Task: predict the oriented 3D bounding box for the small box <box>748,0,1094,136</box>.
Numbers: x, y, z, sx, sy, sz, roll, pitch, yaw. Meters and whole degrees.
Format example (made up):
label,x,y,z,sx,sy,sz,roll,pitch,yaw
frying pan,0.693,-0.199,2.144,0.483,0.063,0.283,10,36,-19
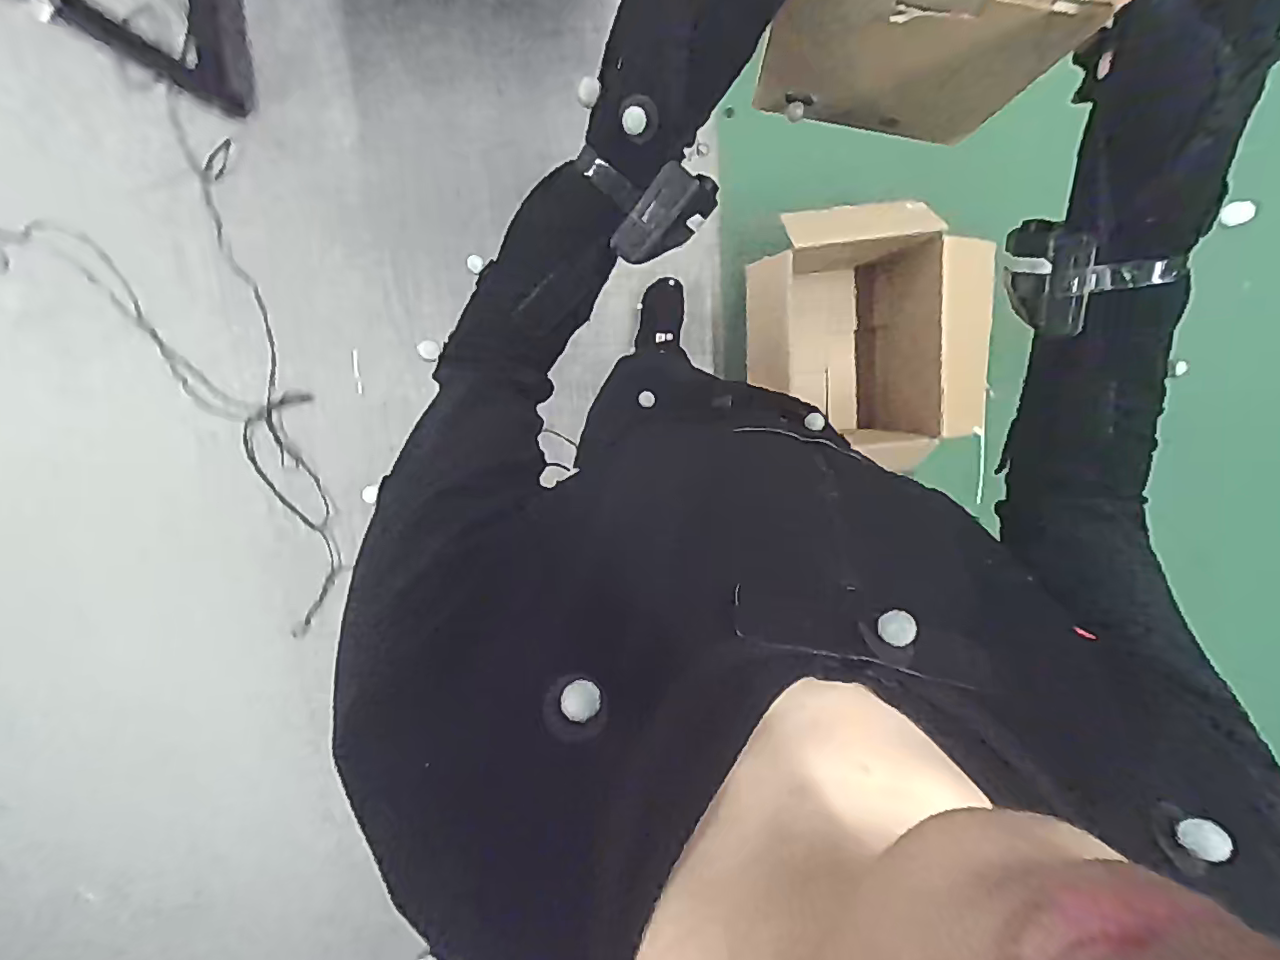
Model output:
label,x,y,z,sx,sy,sz,roll,pitch,yaw
small box,0.168,-0.345,0.332,0.168,0.176,0.179,11,102,2
